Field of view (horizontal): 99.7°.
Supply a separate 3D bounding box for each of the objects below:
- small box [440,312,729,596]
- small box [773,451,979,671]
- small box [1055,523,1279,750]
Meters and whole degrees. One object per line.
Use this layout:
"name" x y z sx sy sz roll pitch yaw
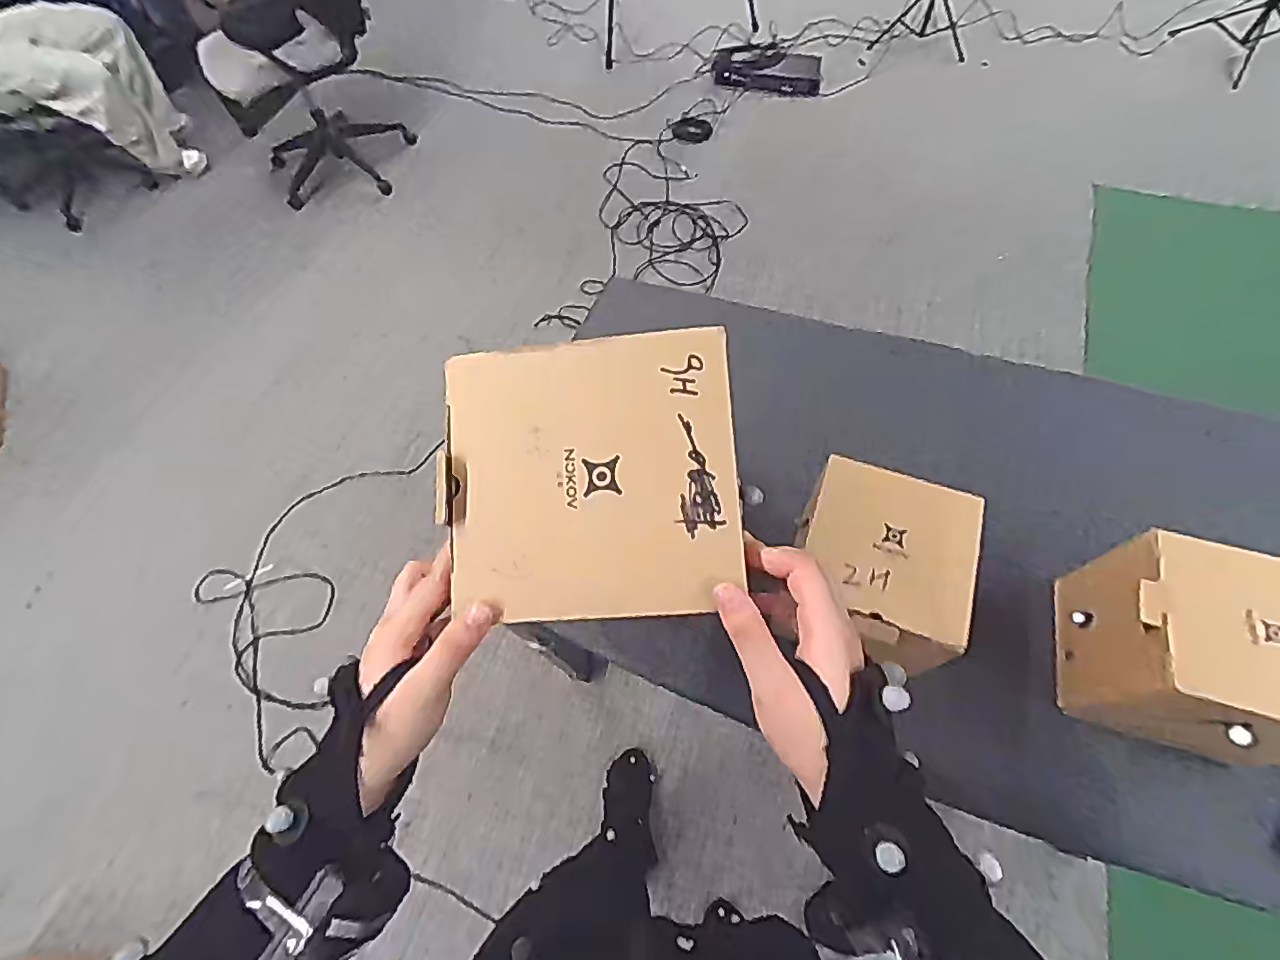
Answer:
"small box" -0.027 -0.005 0.404 0.179 0.176 0.168 -5 83 8
"small box" 0.263 0.099 0.631 0.168 0.176 0.179 17 64 15
"small box" 0.579 0.169 0.564 0.179 0.176 0.168 14 63 13
